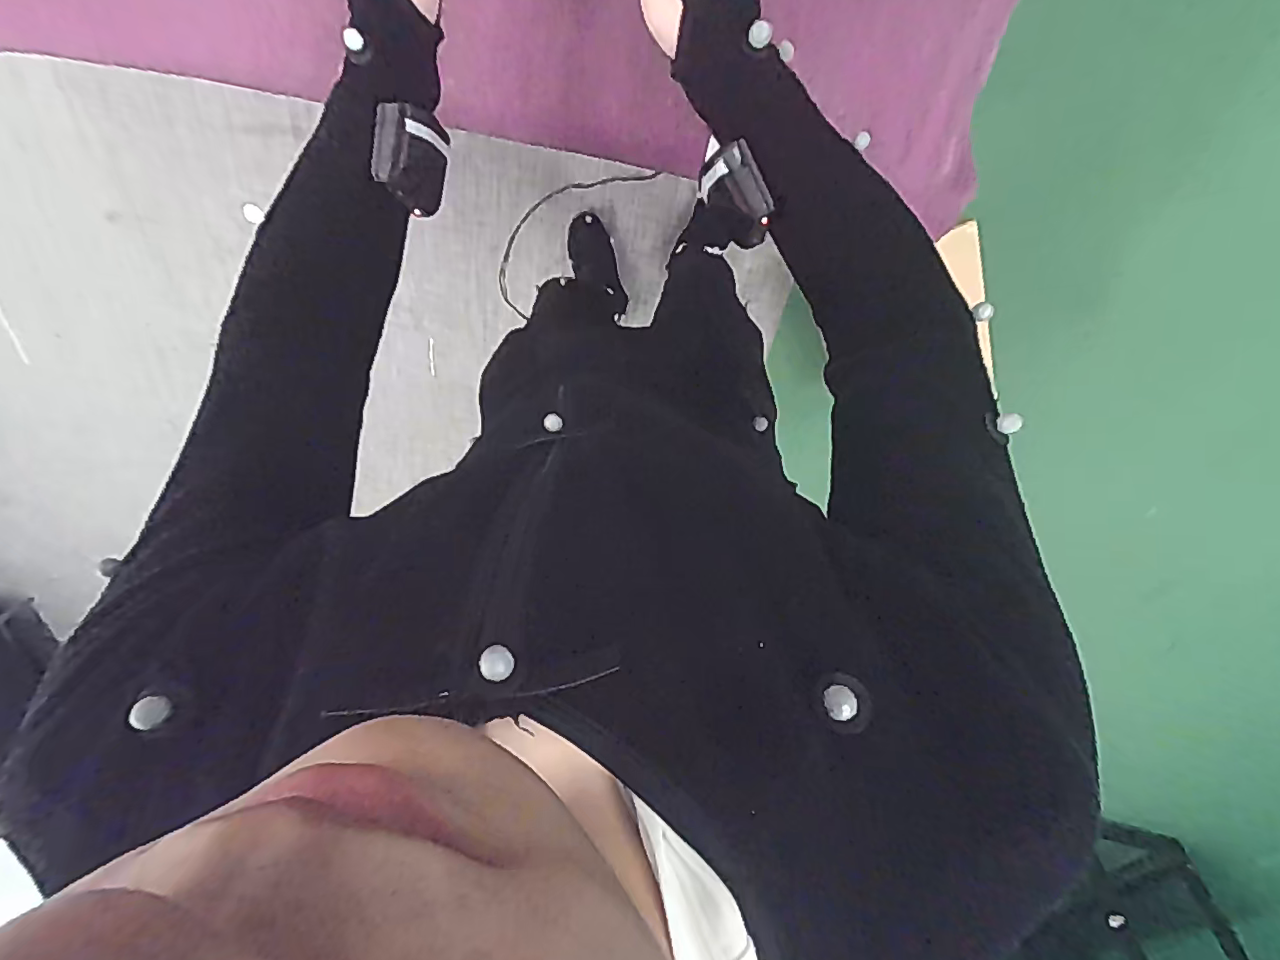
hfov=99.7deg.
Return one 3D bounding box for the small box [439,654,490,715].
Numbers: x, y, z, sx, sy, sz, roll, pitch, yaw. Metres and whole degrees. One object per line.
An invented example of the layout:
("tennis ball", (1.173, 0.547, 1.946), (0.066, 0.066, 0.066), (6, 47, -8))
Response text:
("small box", (-0.790, 0.920, 2.432), (0.168, 0.176, 0.179), (19, 124, 1))
